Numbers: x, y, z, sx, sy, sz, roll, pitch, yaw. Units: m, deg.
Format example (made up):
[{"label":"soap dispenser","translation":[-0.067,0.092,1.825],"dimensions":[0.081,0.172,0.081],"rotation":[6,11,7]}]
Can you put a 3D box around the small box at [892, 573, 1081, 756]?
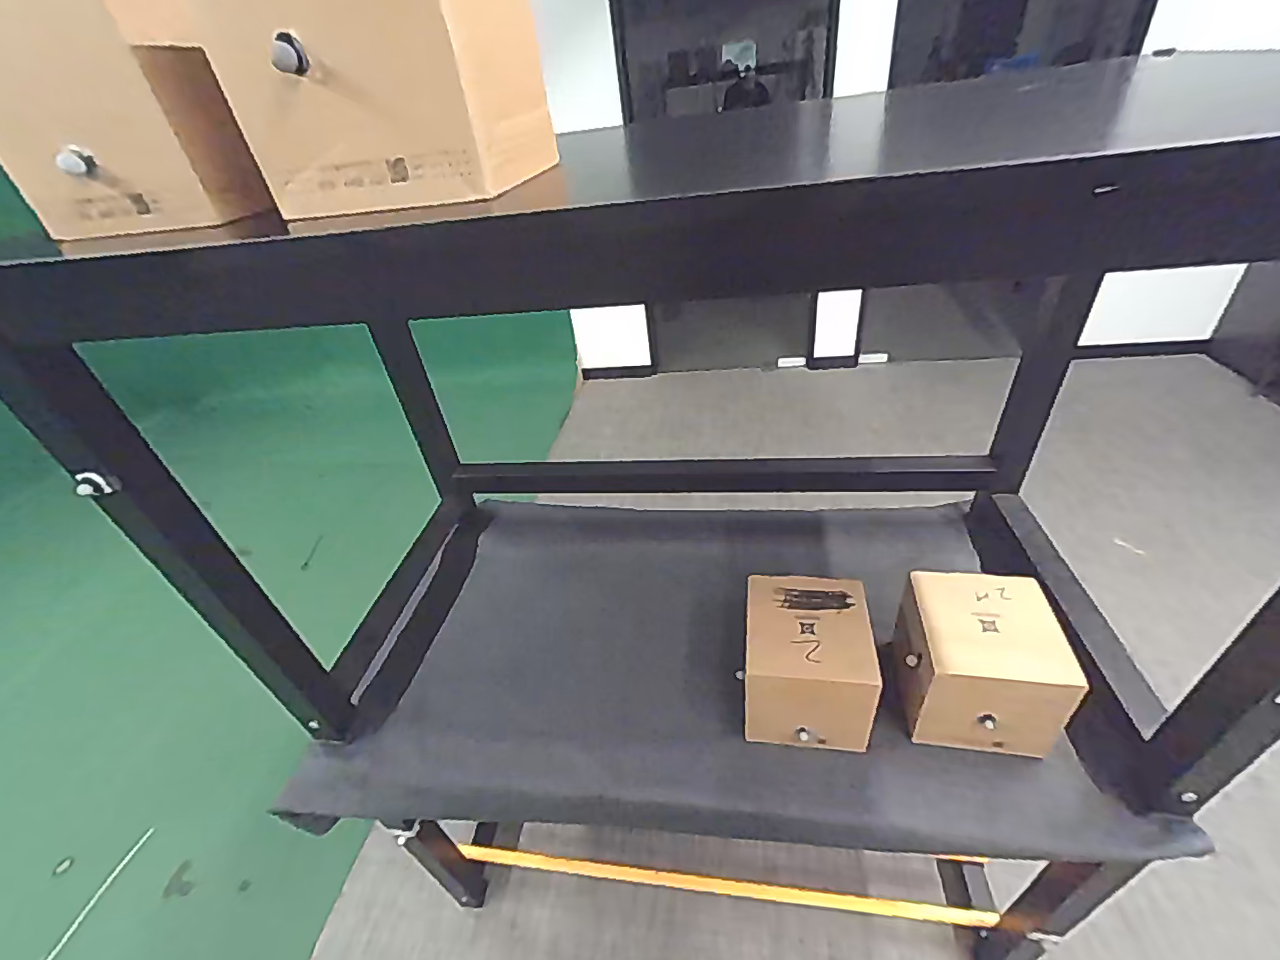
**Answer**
[{"label":"small box","translation":[0.463,0.256,0.756],"dimensions":[0.168,0.176,0.179],"rotation":[2,36,14]}]

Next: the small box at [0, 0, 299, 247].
[{"label":"small box","translation":[-0.400,-0.308,0.460],"dimensions":[0.168,0.176,0.179],"rotation":[0,38,11]}]

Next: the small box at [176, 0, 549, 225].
[{"label":"small box","translation":[-0.181,-0.300,0.408],"dimensions":[0.168,0.176,0.179],"rotation":[0,36,12]}]
